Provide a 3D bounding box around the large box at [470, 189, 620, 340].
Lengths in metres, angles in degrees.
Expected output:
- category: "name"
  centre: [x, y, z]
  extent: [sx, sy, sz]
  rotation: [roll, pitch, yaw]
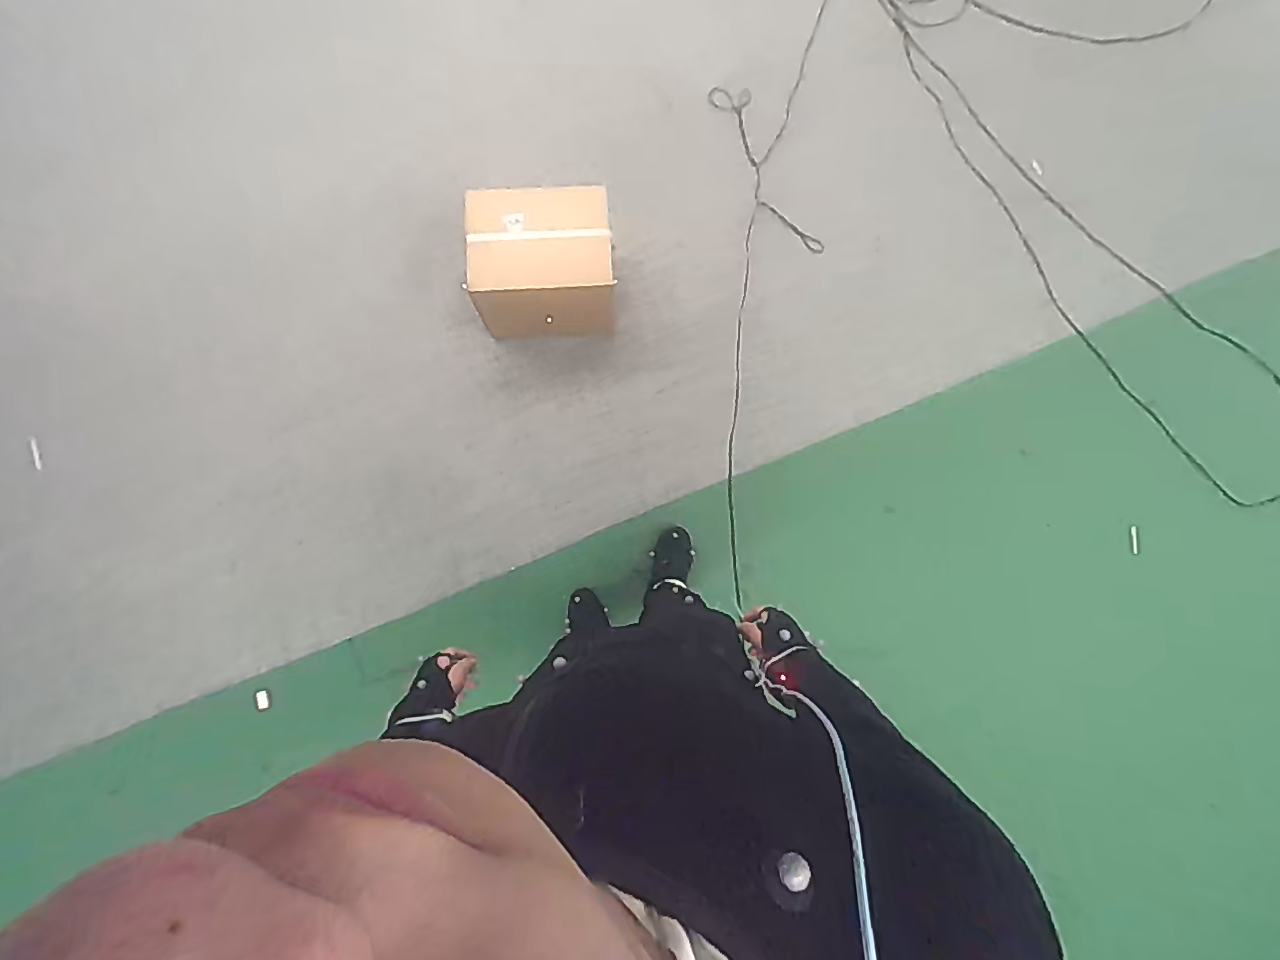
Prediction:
- category: "large box"
  centre: [-0.274, -0.644, 1.661]
  extent: [0.408, 0.320, 0.320]
  rotation: [-3, 79, -2]
